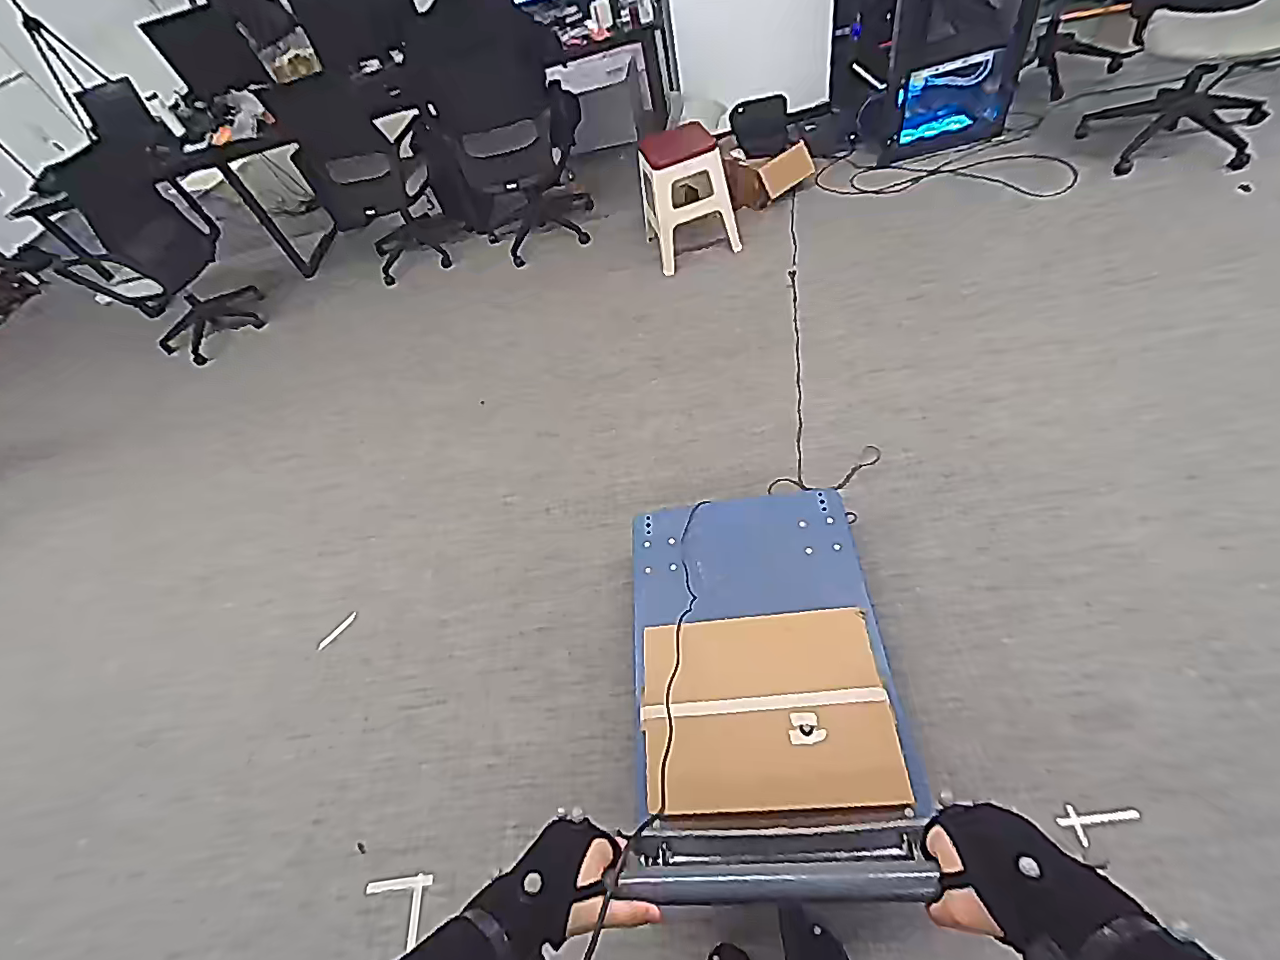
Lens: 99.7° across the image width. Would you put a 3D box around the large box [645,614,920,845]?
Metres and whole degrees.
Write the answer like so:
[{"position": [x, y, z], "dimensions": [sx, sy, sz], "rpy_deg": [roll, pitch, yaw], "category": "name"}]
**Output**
[{"position": [0.236, 0.477, 1.012], "dimensions": [0.408, 0.320, 0.320], "rpy_deg": [-8, 53, 8], "category": "large box"}]
